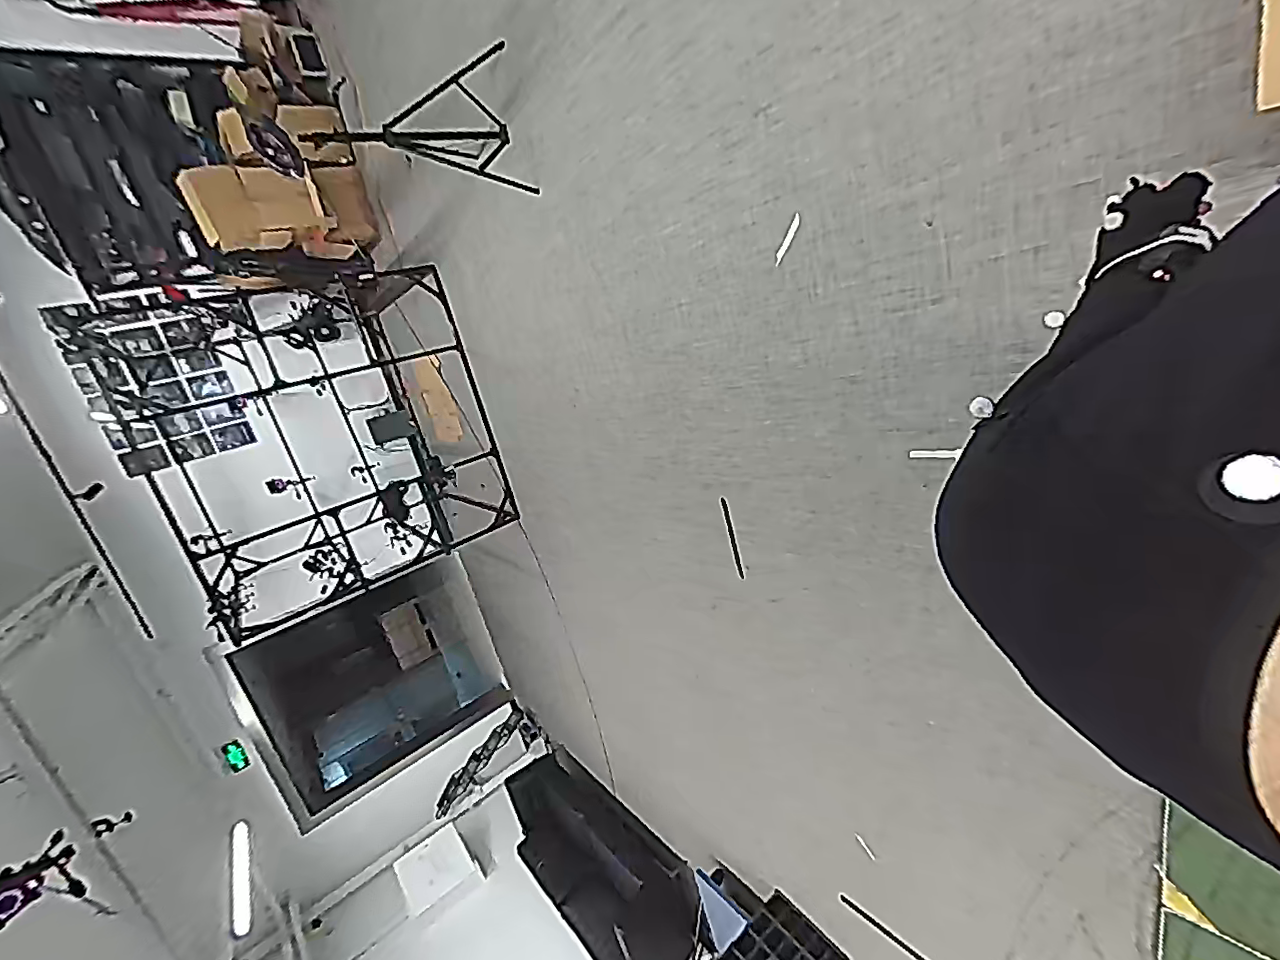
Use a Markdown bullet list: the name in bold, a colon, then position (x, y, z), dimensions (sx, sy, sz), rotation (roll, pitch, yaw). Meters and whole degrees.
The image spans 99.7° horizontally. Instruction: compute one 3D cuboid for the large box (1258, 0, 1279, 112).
- **large box**: position (1.035, -0.686, 0.621), dimensions (0.408, 0.320, 0.320), rotation (7, 117, 52)
